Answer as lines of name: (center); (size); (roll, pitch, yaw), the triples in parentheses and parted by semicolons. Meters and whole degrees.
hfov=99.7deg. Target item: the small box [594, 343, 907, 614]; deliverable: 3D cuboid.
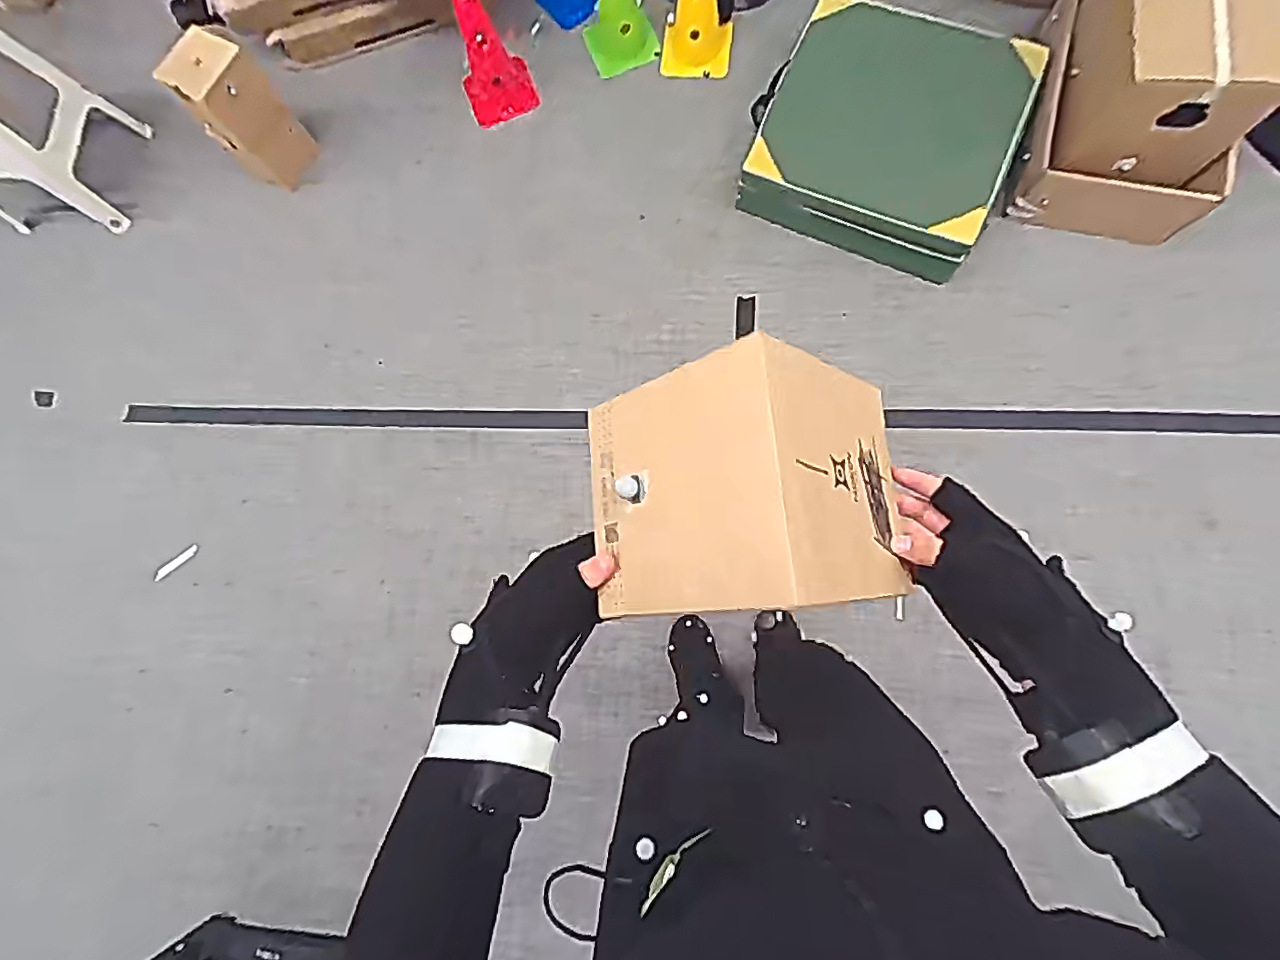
small box: (0.084, 0.017, 0.434); (0.176, 0.179, 0.168); (-18, 72, 45)
